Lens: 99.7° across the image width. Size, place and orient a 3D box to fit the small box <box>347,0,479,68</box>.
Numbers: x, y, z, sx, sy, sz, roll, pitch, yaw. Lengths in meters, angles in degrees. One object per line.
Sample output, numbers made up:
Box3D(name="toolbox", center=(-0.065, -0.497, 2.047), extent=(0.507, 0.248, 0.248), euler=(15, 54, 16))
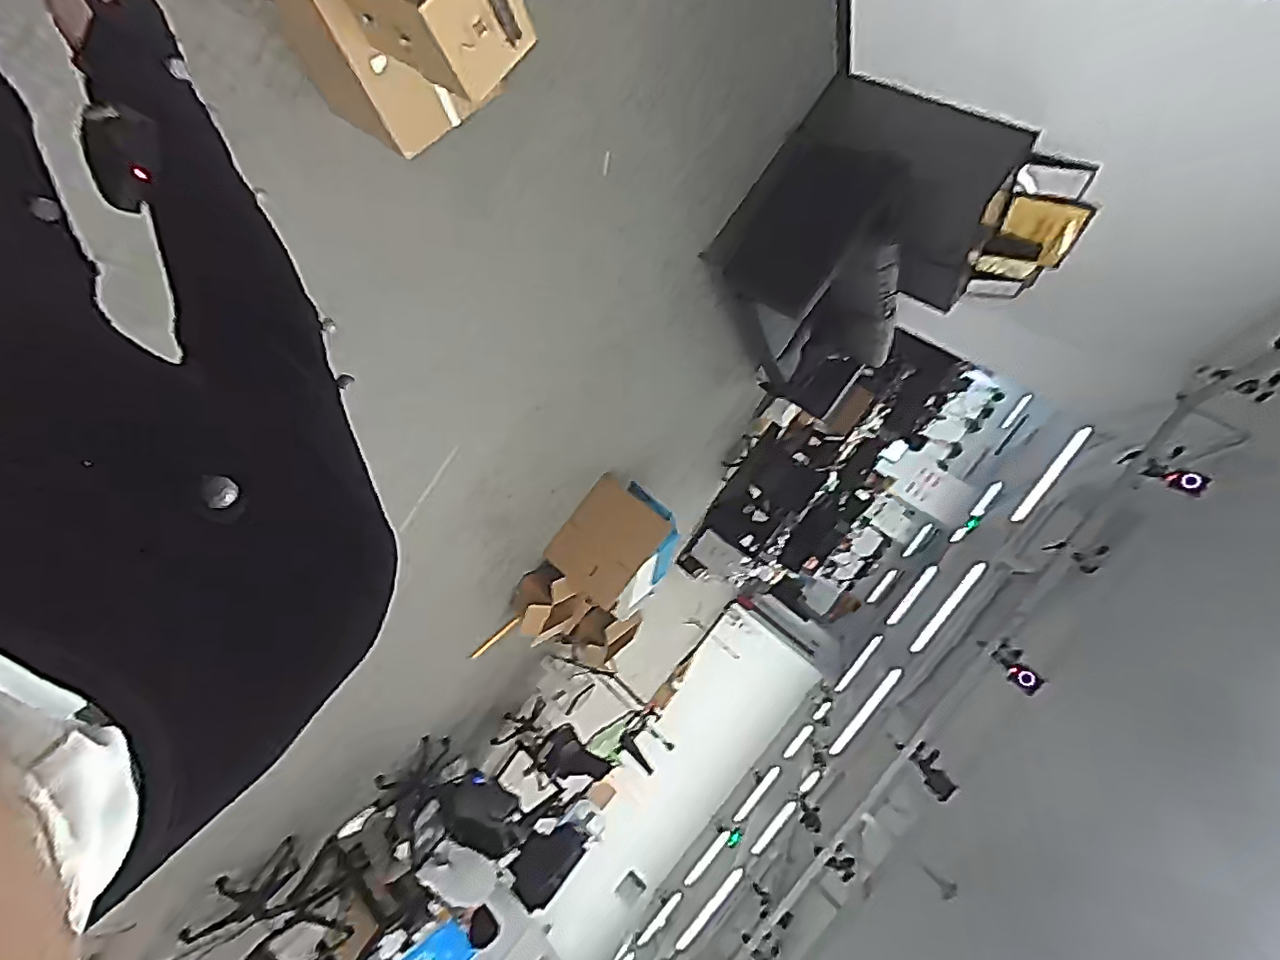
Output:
Box3D(name="small box", center=(-0.440, -0.912, 0.985), extent=(0.179, 0.176, 0.168), euler=(-49, 159, -4))
